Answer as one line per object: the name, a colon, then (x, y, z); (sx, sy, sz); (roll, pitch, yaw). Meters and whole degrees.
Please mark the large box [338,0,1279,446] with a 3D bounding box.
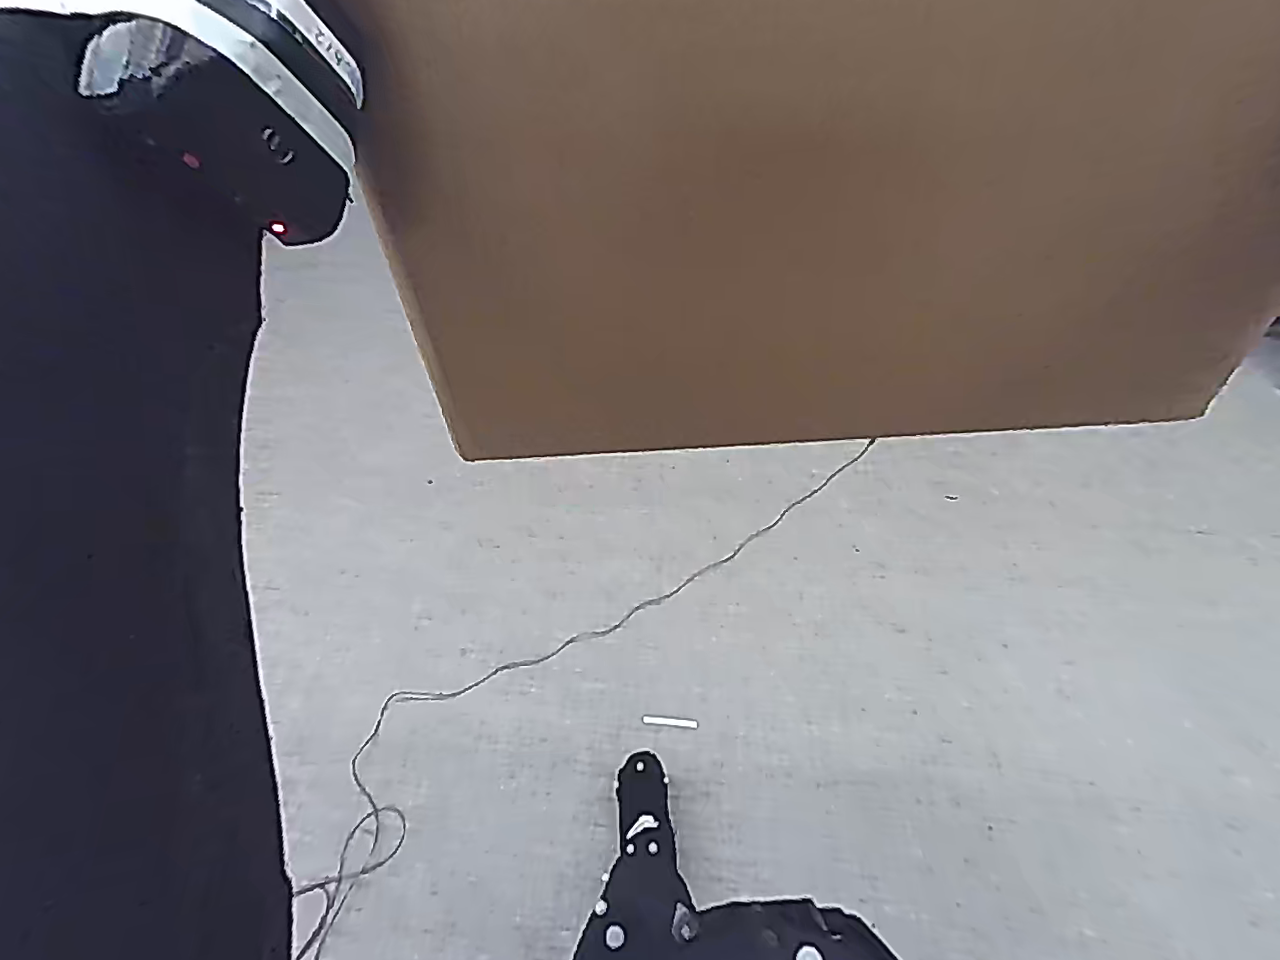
large box: (0.085, -0.239, 0.326); (0.408, 0.320, 0.320); (-3, 41, 0)
